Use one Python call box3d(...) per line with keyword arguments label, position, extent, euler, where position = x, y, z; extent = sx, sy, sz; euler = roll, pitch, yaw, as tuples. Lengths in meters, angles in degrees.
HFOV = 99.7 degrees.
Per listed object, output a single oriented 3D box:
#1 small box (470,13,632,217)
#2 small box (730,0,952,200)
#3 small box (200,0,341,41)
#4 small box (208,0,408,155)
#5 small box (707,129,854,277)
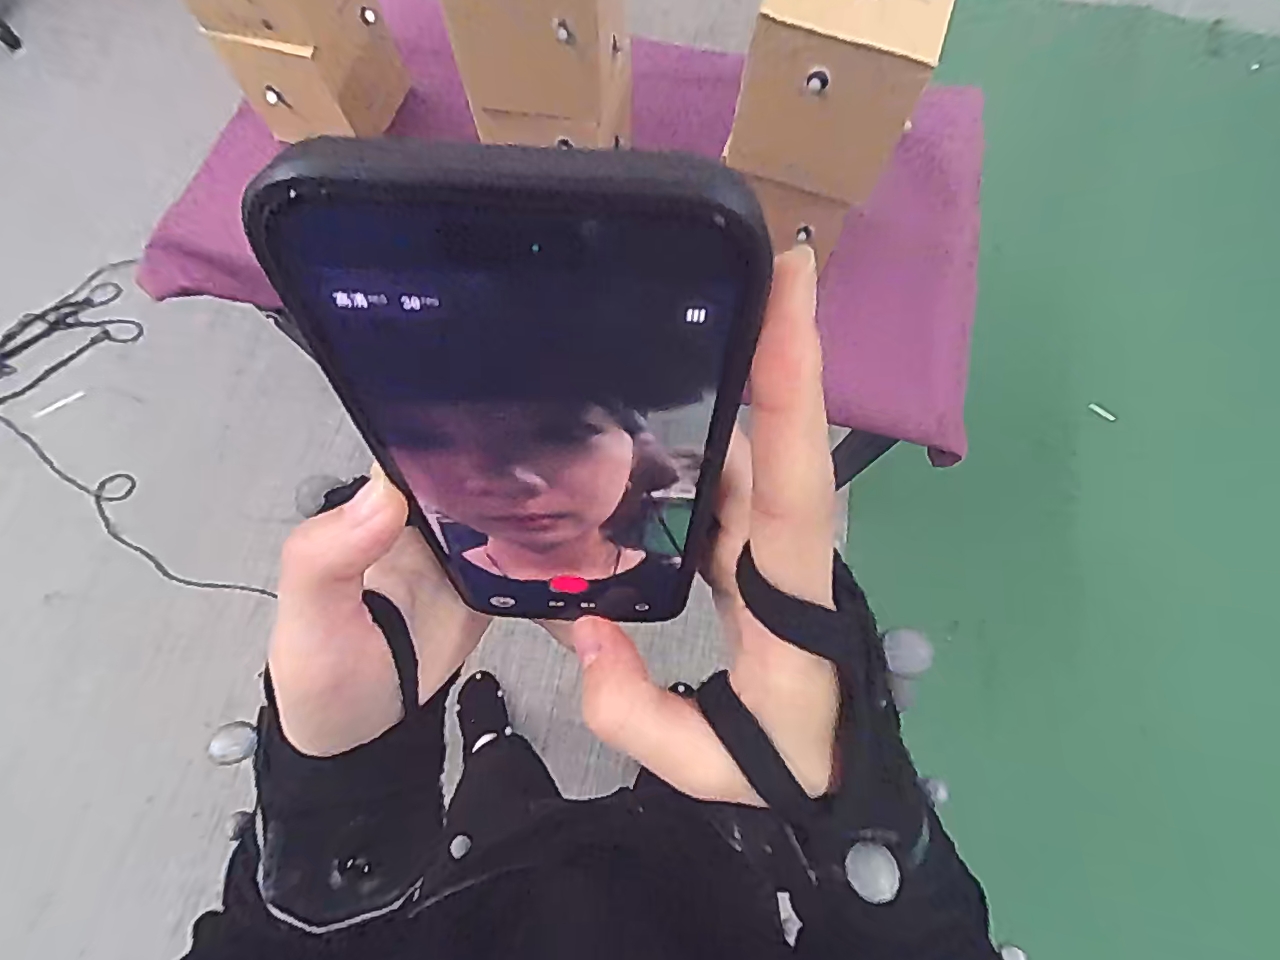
box3d(label="small box", position=(-0.117, -0.520, 0.790), extent=(0.179, 0.176, 0.168), euler=(15, 73, 4))
box3d(label="small box", position=(0.214, -0.451, 0.601), extent=(0.179, 0.176, 0.168), euler=(21, 73, 5))
box3d(label="small box", position=(-0.483, -0.697, 0.672), extent=(0.168, 0.176, 0.179), euler=(11, 73, 2))
box3d(label="small box", position=(-0.486, -0.640, 0.826), extent=(0.168, 0.176, 0.179), euler=(16, 73, 4))
box3d(label="small box", position=(0.208, -0.418, 0.762), extent=(0.179, 0.176, 0.168), euler=(21, 73, 7))
